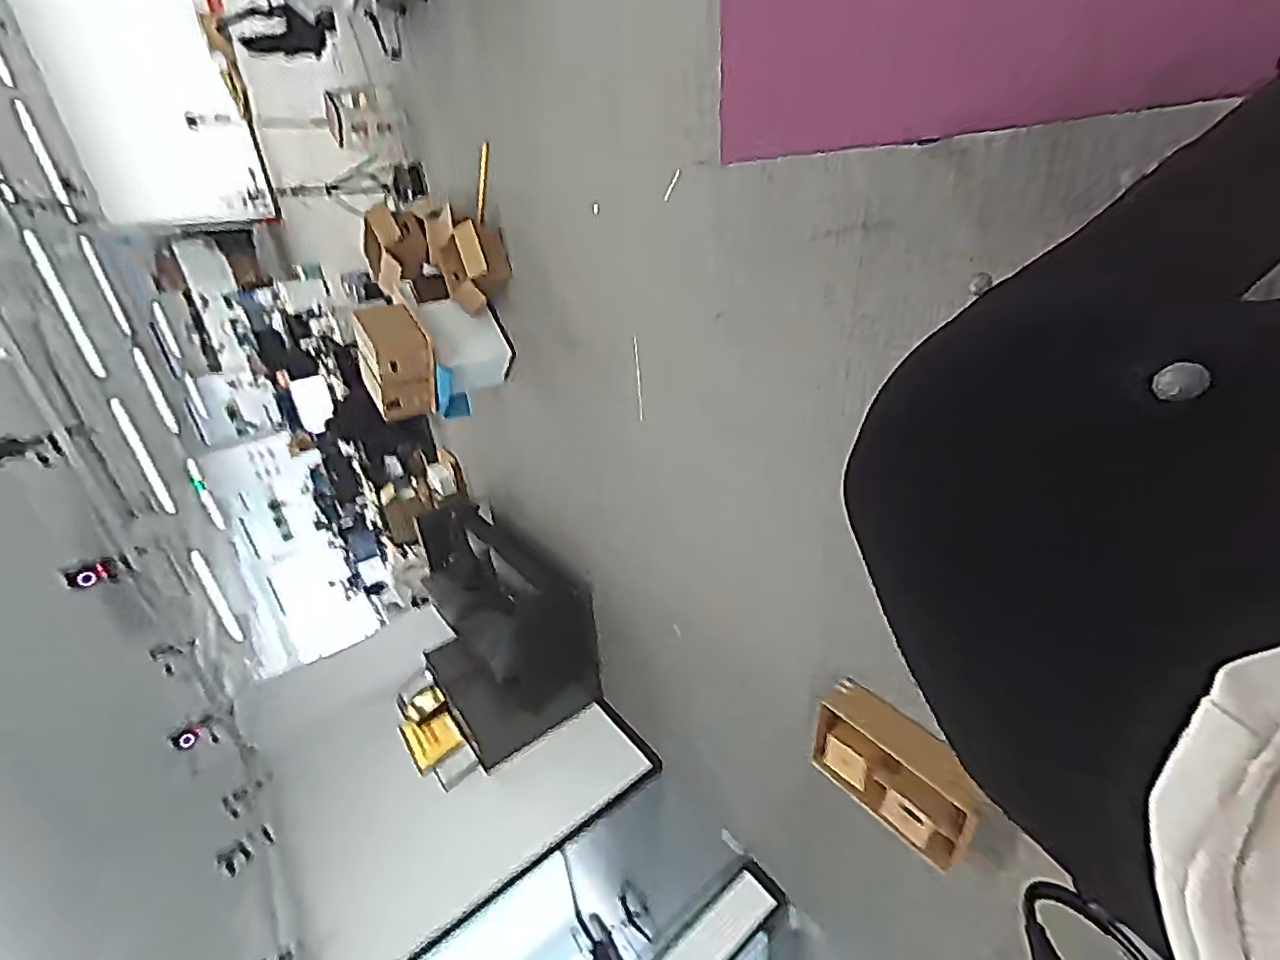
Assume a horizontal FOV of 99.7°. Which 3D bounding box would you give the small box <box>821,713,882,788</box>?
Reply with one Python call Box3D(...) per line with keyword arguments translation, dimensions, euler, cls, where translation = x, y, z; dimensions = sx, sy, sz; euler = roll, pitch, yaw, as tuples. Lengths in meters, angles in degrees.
Box3D(translation=(0.868, 1.103, 2.214), dimensions=(0.168, 0.176, 0.179), euler=(26, 128, 47), cls="small box")
